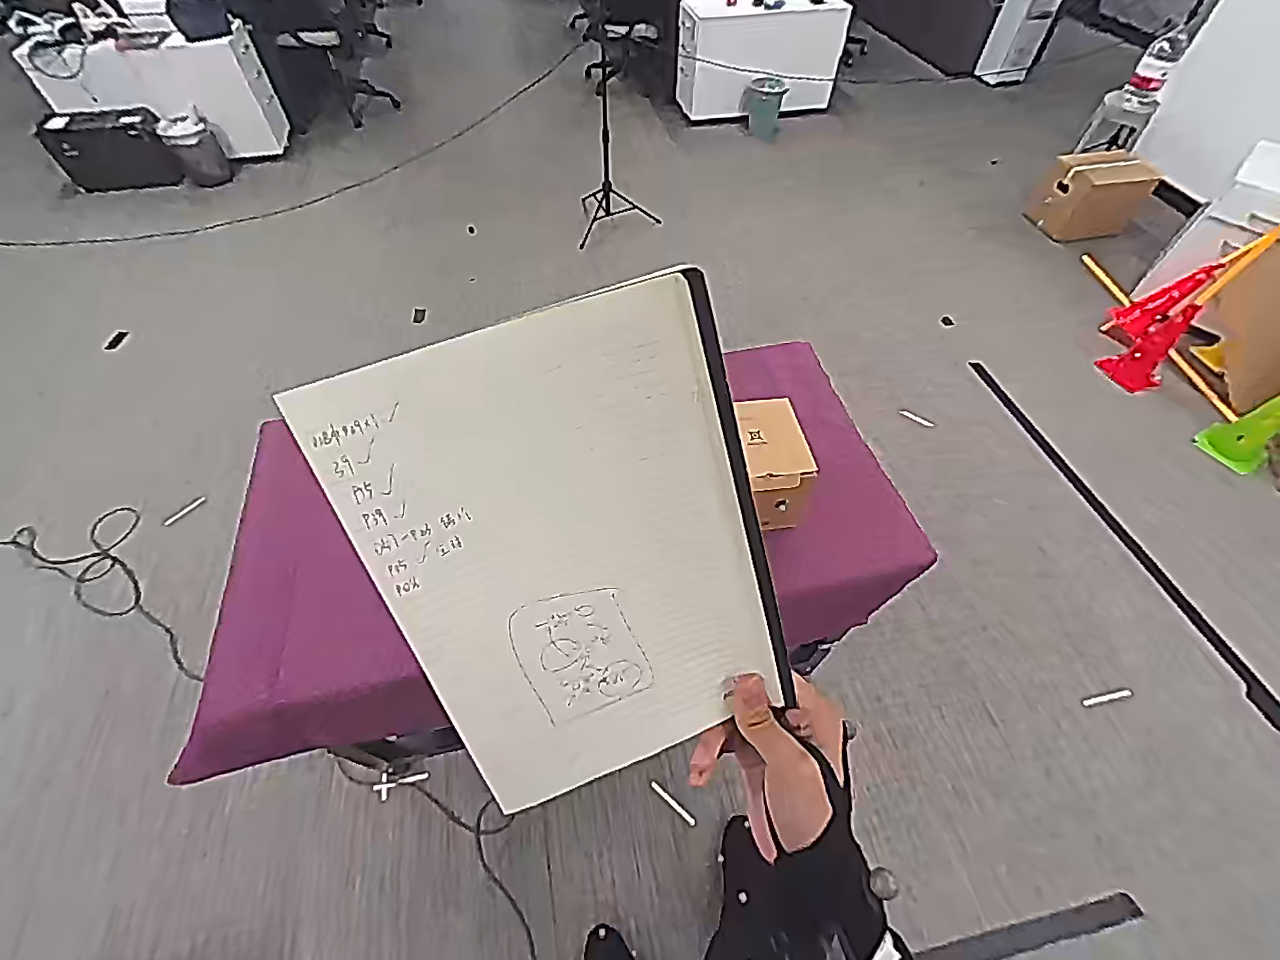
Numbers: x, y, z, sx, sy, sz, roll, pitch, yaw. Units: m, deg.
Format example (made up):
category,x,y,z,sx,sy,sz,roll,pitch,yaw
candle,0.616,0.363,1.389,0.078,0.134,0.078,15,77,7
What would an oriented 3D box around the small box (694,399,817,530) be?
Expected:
category,x,y,z,sx,sy,sz,roll,pitch,yaw
small box,0.196,-0.022,0.975,0.168,0.176,0.179,-5,53,-5
